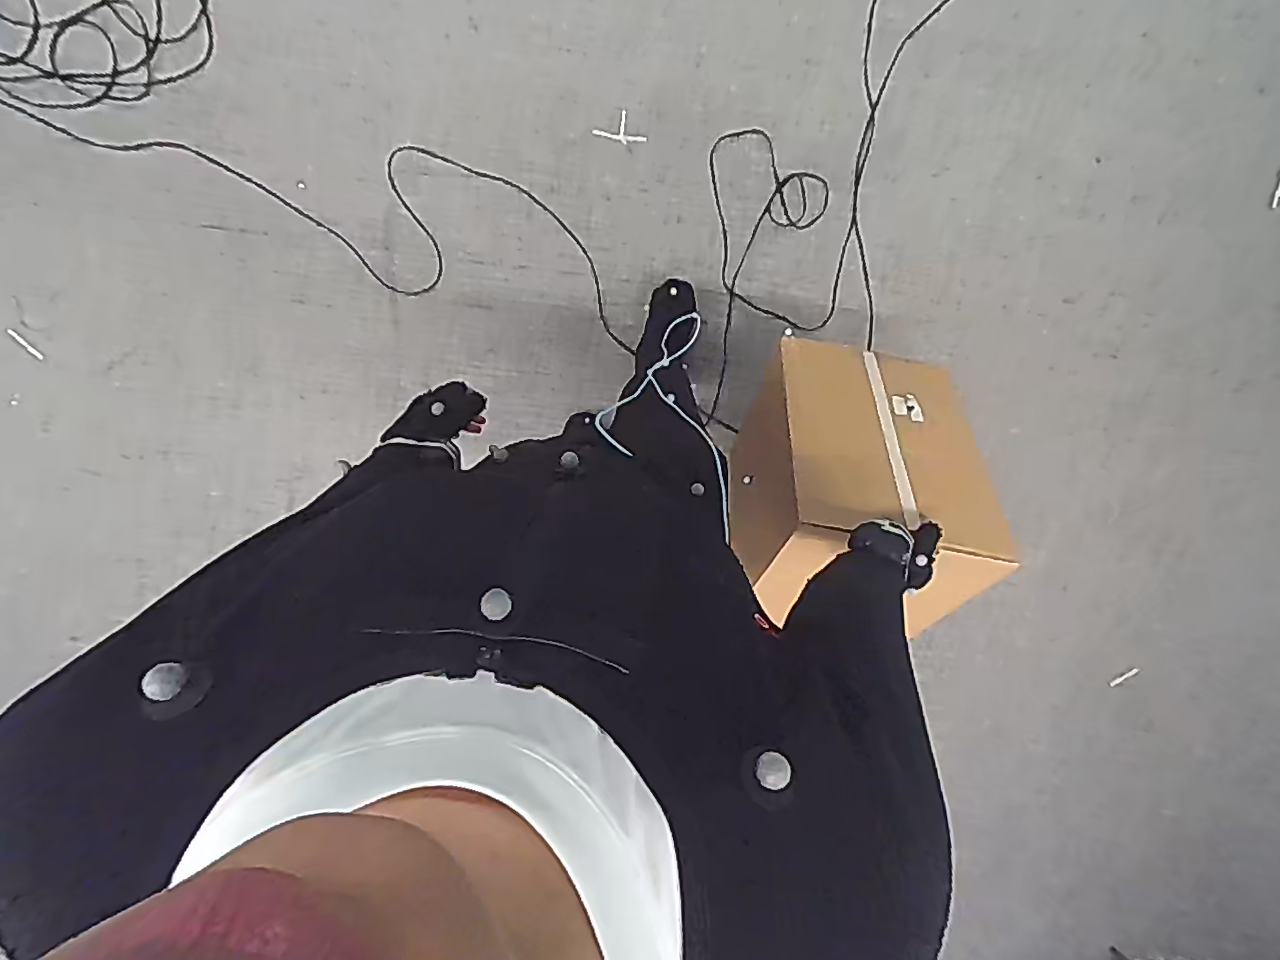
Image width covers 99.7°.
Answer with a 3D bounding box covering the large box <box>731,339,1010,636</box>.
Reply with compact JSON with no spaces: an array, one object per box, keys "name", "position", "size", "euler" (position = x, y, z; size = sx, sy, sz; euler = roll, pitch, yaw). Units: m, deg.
[{"name":"large box","position":[0.354,0.018,0.967],"size":[0.320,0.408,0.320],"euler":[12,141,-5]}]
